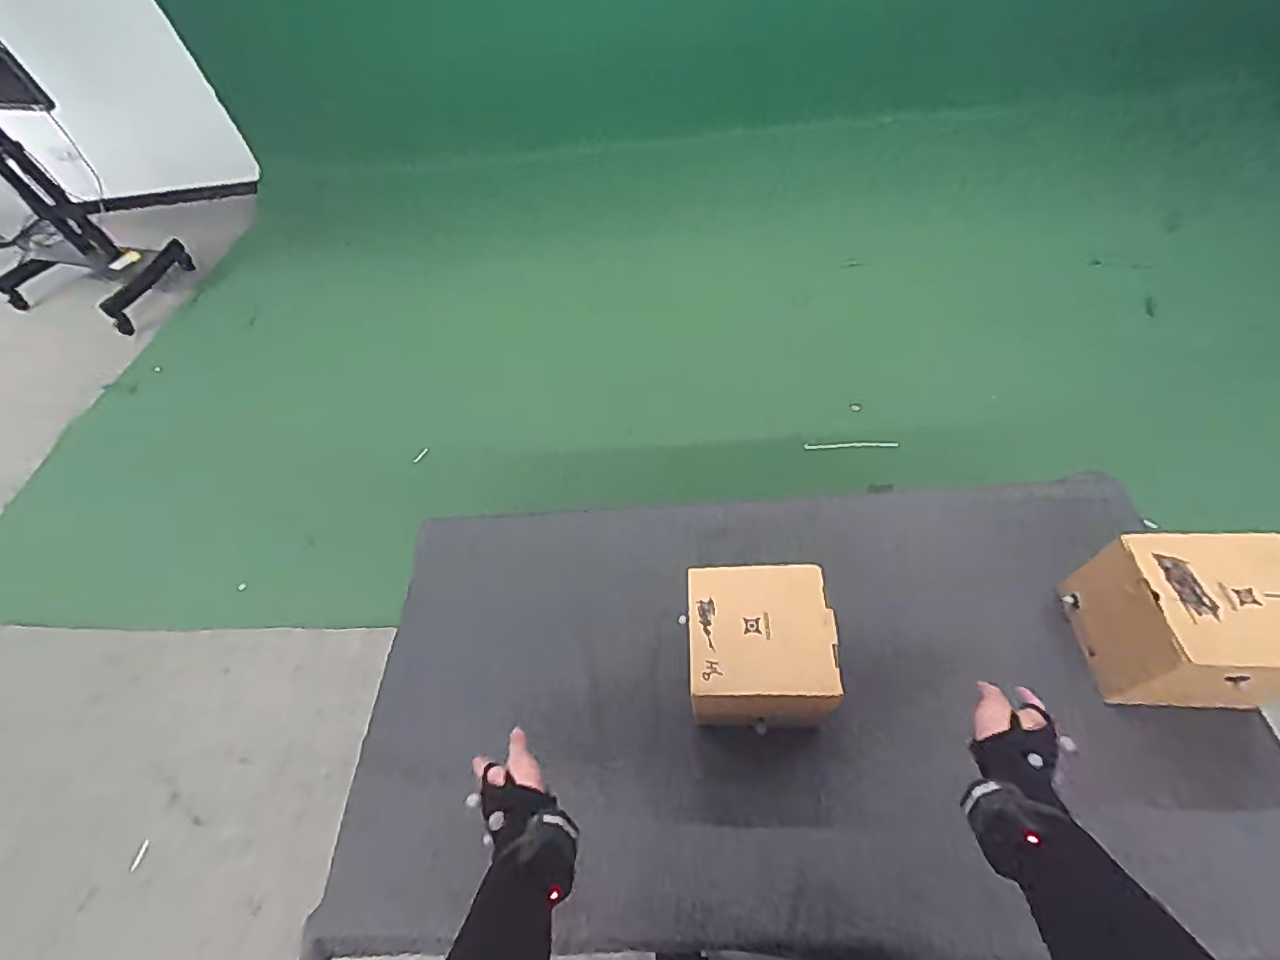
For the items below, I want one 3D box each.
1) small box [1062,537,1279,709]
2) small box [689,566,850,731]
[{"bbox_3d":[0.693,0.188,0.696,0.179,0.176,0.168,1,54,5],"label":"small box"},{"bbox_3d":[0.156,0.227,0.719,0.179,0.176,0.168,0,53,4],"label":"small box"}]
